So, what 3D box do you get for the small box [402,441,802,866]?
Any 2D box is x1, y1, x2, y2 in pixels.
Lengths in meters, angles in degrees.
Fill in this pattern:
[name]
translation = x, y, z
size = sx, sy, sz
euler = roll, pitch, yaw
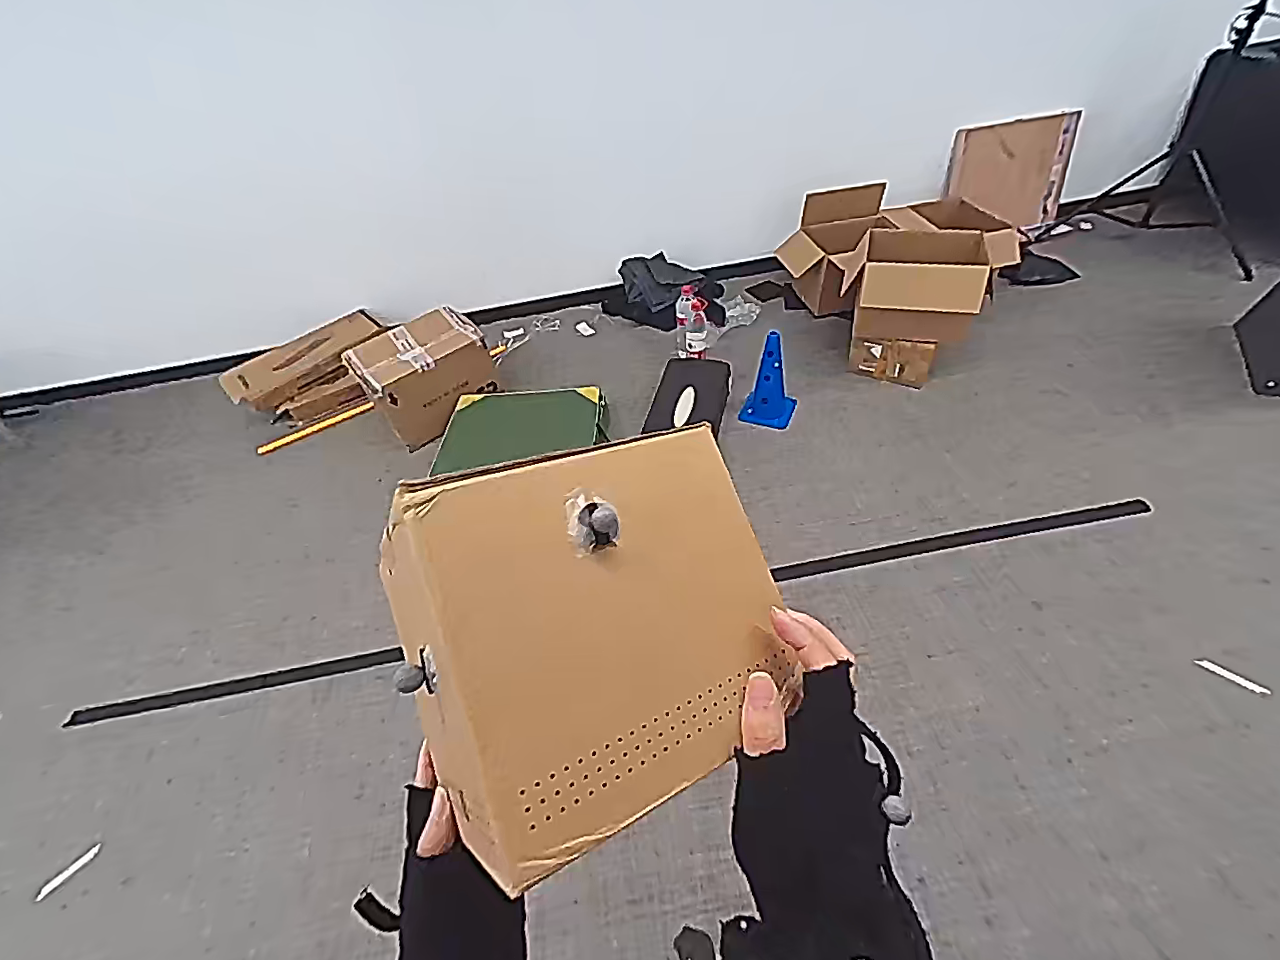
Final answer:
[small box]
translation = -0.034, 0.097, 0.340
size = 0.179, 0.168, 0.176
euler = -14, 77, -30
